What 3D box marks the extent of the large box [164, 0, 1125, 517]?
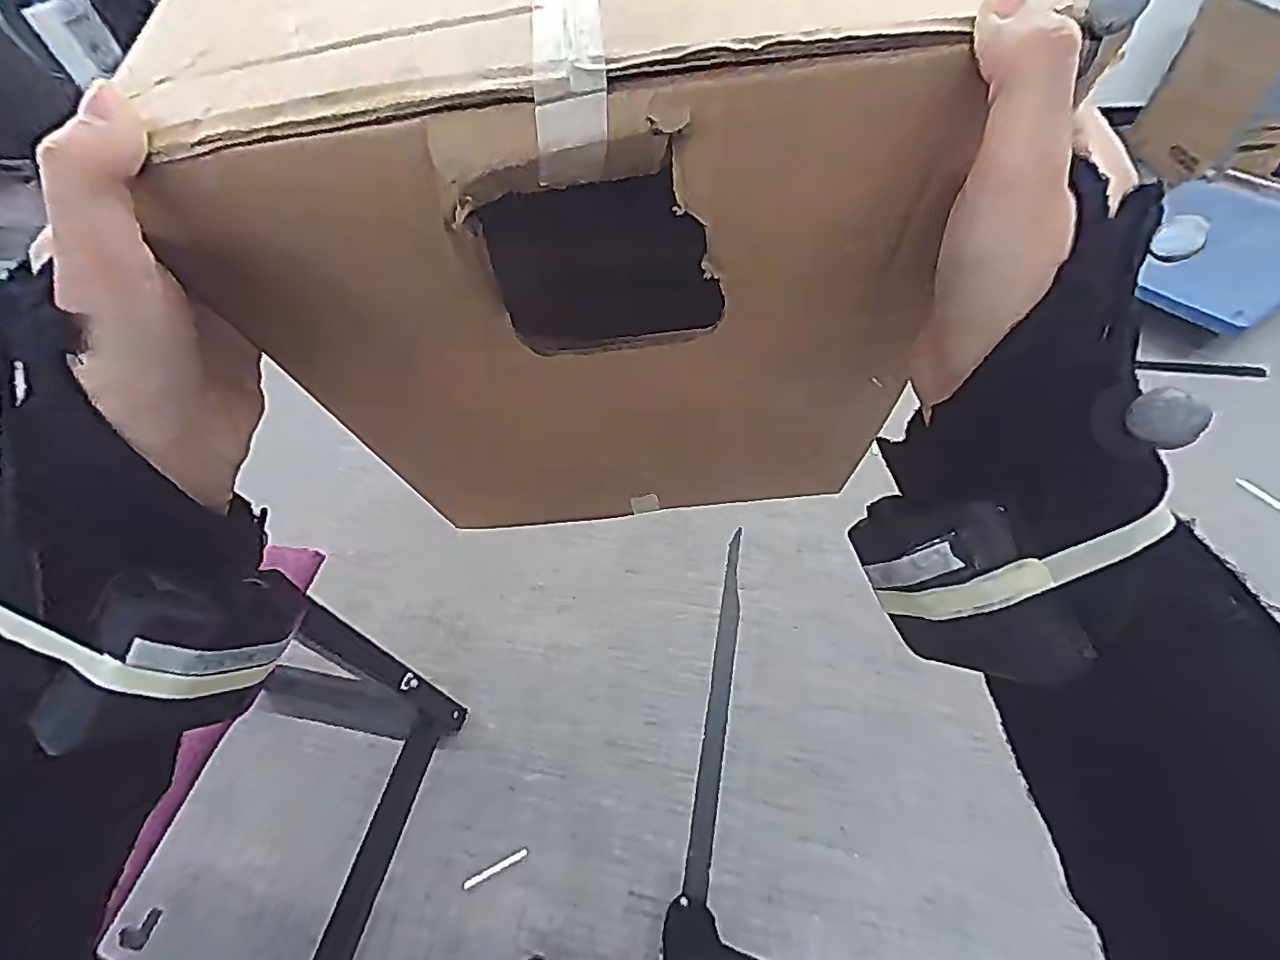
[{"bbox_3d":[-0.011,-0.225,0.387,0.320,0.320,0.408,-7,64,3],"label":"large box"}]
